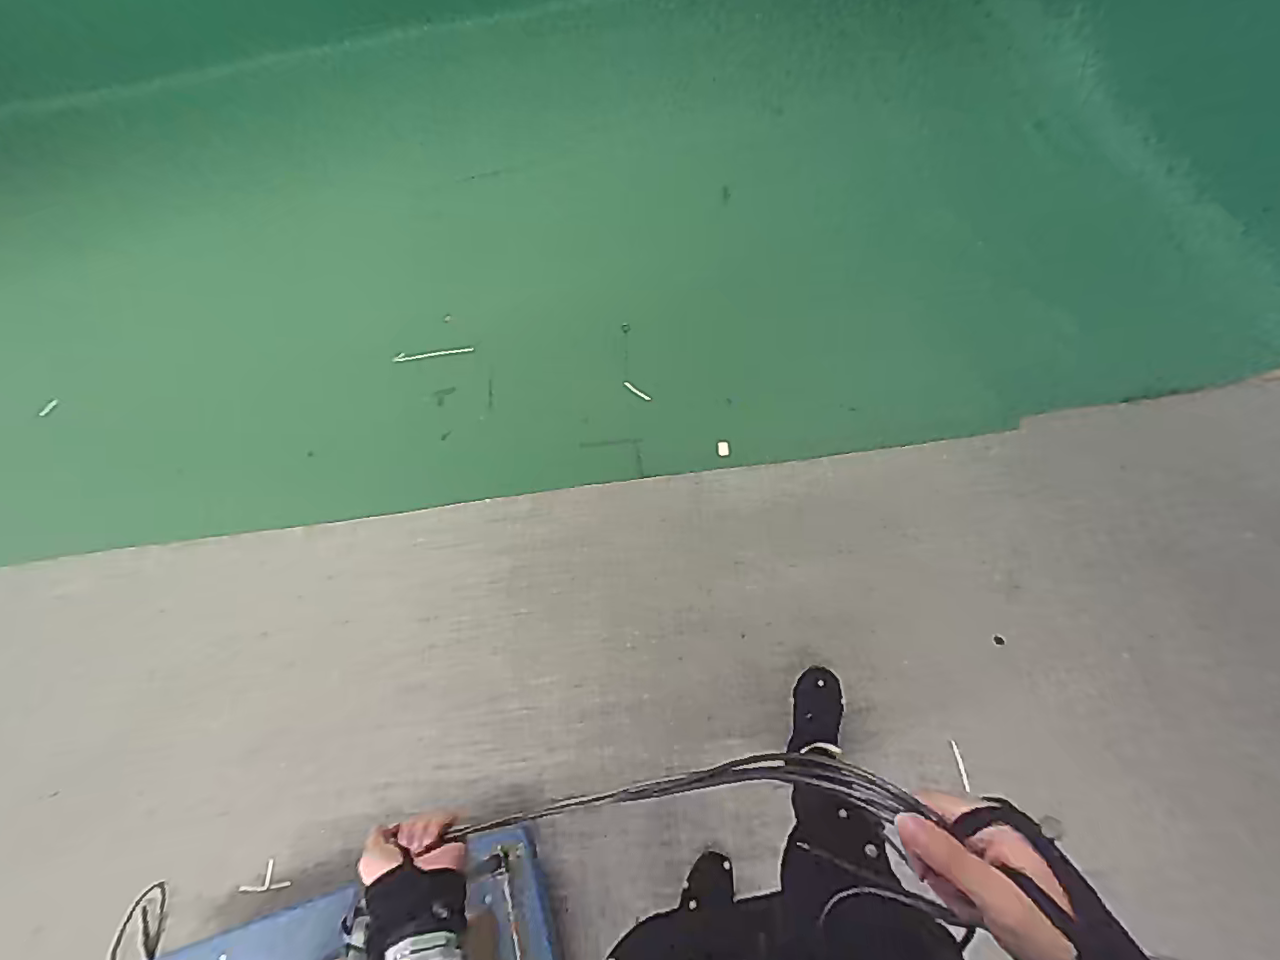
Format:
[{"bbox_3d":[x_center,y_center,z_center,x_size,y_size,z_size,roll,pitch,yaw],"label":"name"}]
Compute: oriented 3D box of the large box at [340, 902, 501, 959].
[{"bbox_3d":[-0.465,1.012,0.927,0.408,0.320,0.320,-20,62,-1],"label":"large box"}]
